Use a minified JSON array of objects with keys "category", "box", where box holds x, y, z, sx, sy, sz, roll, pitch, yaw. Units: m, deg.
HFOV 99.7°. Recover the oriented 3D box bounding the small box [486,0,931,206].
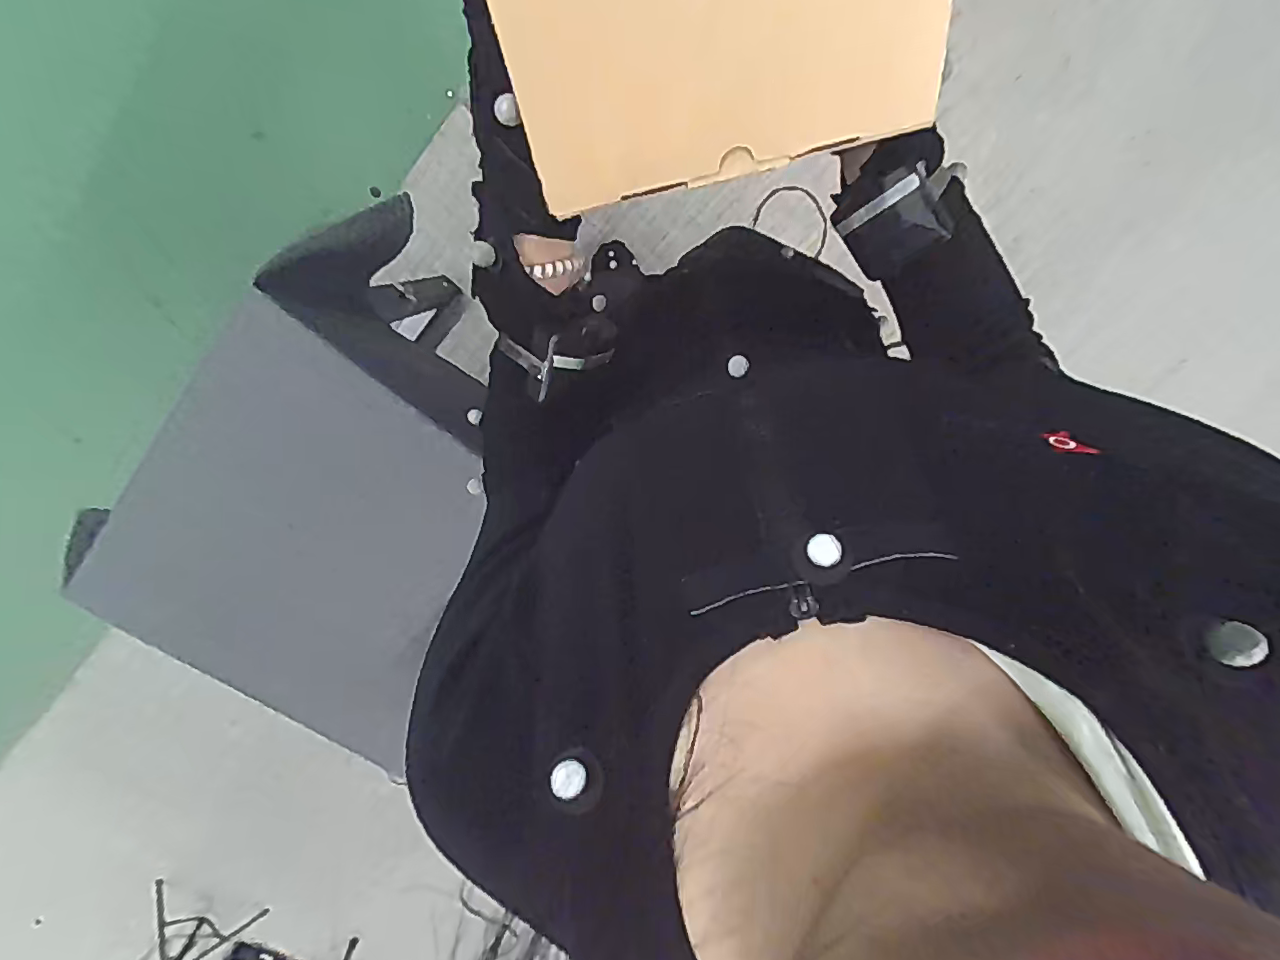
[{"category":"small box","box":[0.015,-0.253,0.239,0.168,0.176,0.179,-11,132,7]}]
